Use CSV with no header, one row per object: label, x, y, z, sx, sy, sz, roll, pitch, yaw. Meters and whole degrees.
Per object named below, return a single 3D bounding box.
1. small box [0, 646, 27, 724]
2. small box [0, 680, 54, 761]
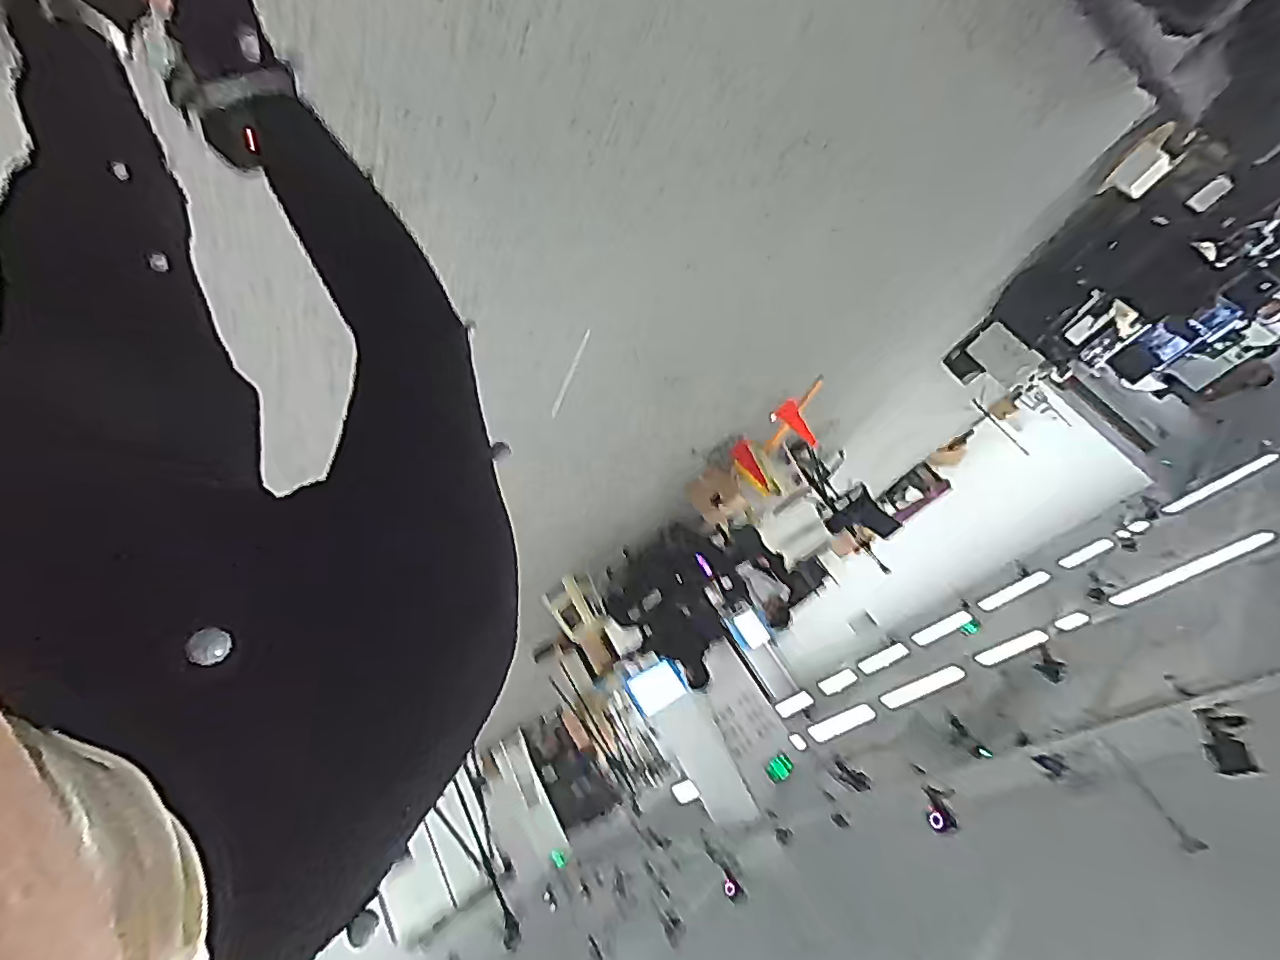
small box,-1.799,0.567,1.445,0.168,0.176,0.179,-16,152,-38
small box,-1.909,0.726,1.623,0.168,0.176,0.179,-13,151,-42
